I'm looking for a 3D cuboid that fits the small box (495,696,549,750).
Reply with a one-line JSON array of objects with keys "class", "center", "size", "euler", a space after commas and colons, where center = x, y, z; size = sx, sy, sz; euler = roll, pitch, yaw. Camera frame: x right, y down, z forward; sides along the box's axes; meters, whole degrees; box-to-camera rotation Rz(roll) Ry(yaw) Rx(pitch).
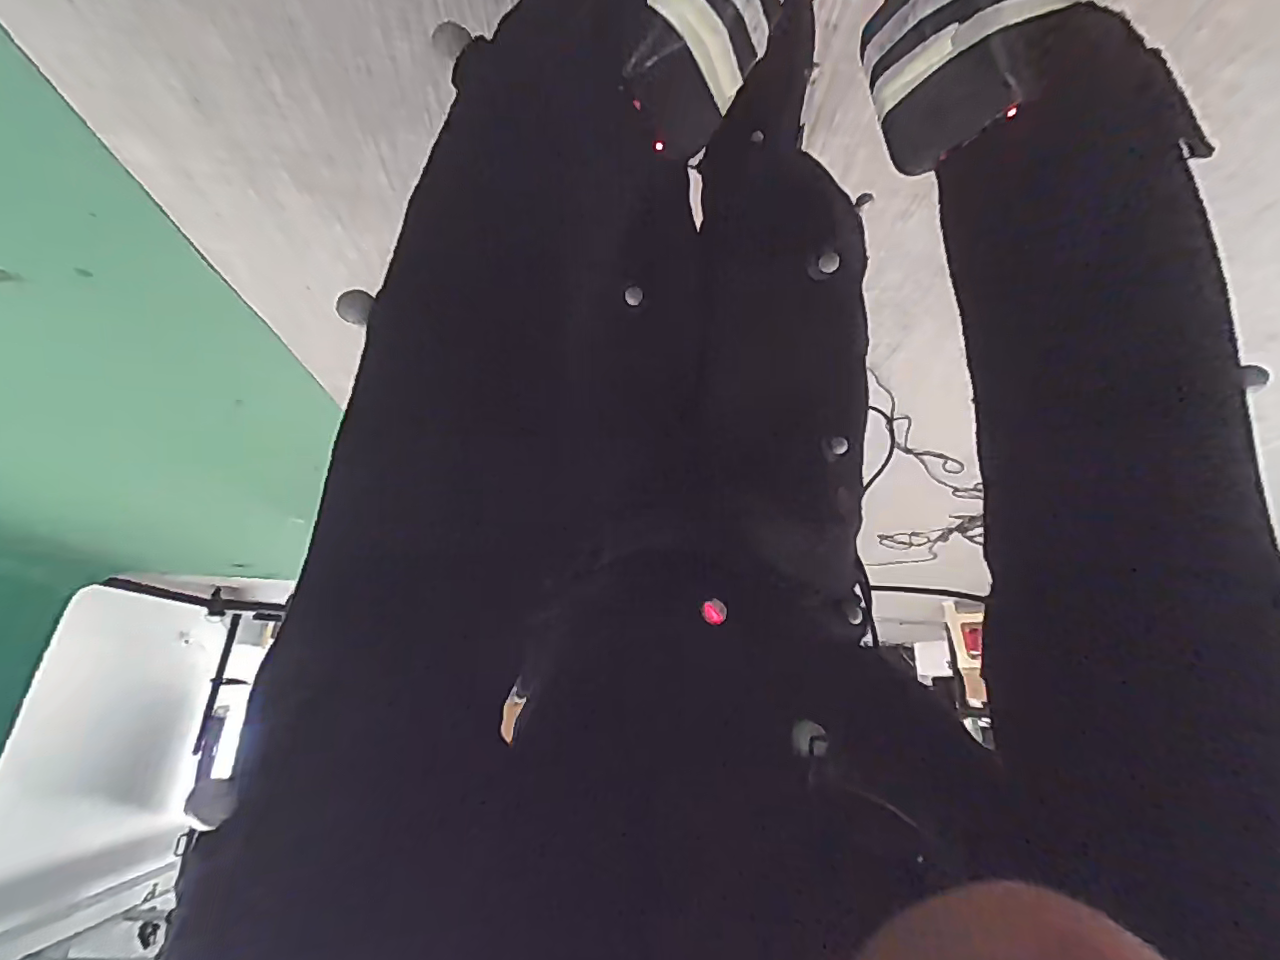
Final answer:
[{"class": "small box", "center": [-0.420, 0.870, 1.946], "size": [0.168, 0.176, 0.179], "euler": [4, 158, -5]}]
